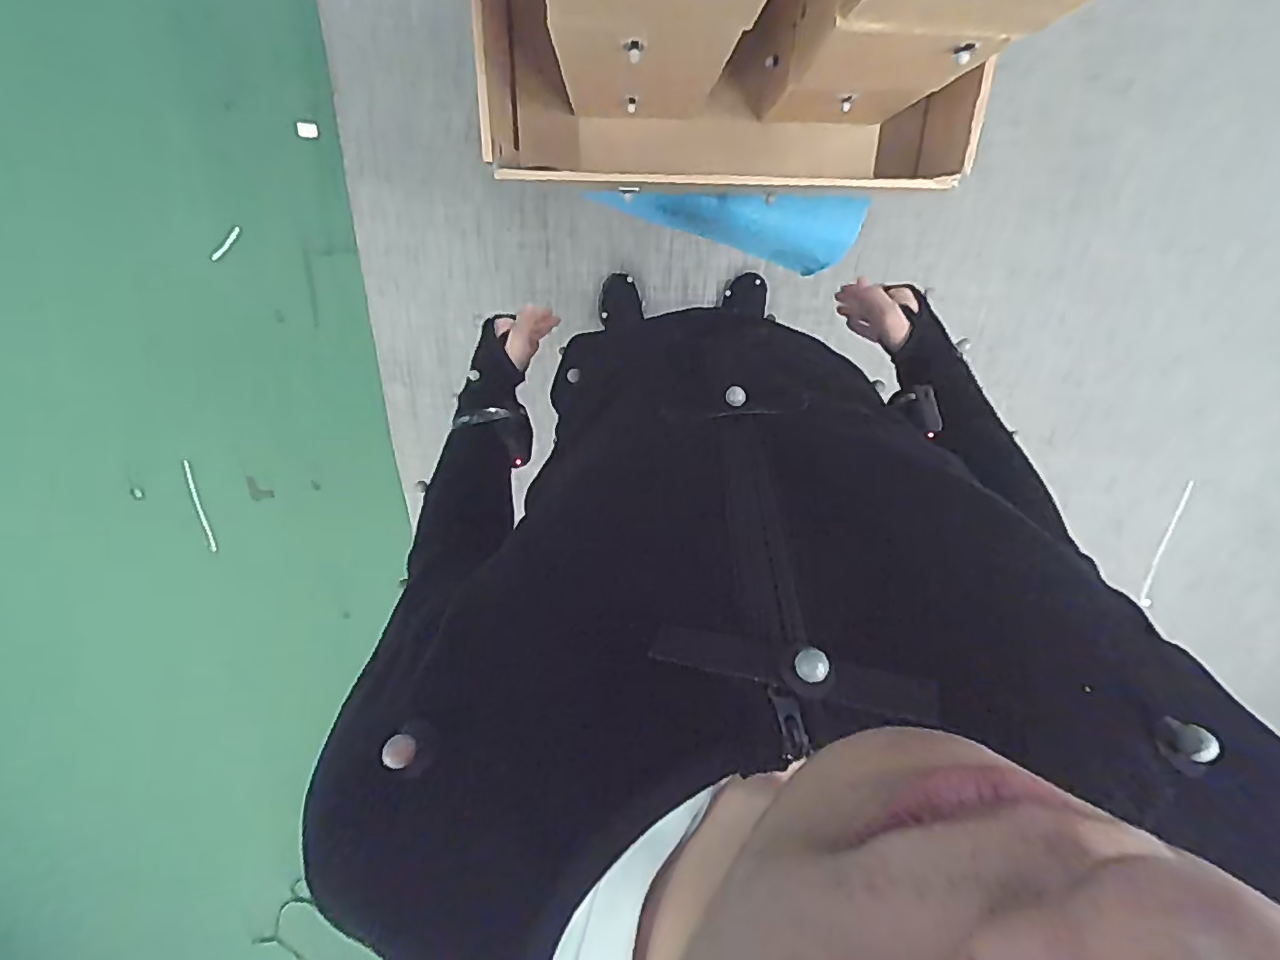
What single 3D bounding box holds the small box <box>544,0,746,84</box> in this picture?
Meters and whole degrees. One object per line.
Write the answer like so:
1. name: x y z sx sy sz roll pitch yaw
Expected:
1. small box: 0.005 -0.500 0.514 0.179 0.176 0.168 0 112 -2
